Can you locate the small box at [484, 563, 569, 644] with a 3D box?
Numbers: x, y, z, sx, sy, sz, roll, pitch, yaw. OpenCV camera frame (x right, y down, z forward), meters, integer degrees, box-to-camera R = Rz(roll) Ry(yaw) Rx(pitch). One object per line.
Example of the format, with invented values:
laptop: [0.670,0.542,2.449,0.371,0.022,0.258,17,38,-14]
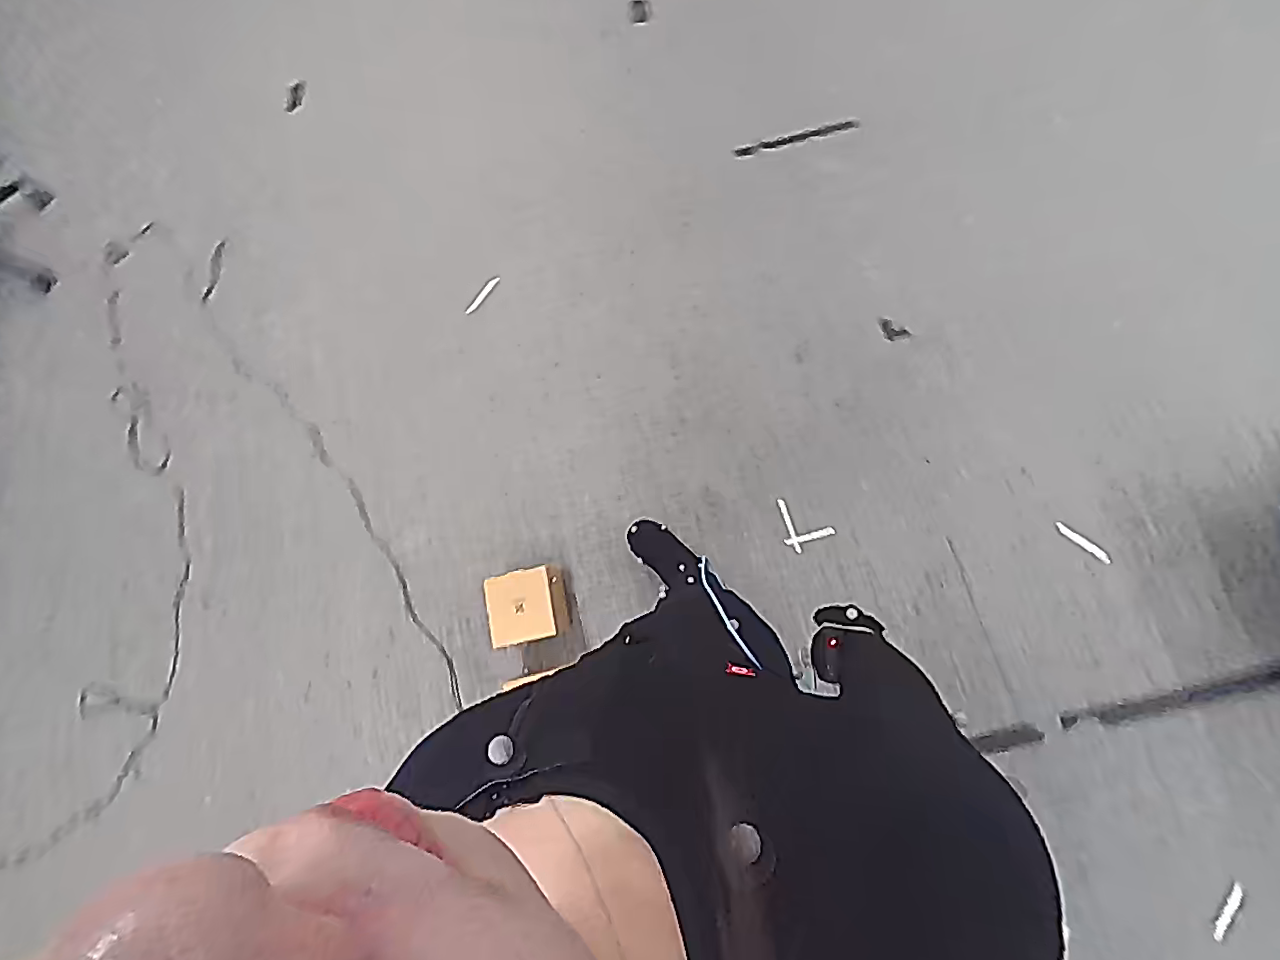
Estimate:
small box: [-0.297,0.327,1.442,0.168,0.176,0.179,-13,76,2]

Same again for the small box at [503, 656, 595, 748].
small box: [-0.228,0.561,1.386,0.179,0.176,0.168,-15,78,1]
